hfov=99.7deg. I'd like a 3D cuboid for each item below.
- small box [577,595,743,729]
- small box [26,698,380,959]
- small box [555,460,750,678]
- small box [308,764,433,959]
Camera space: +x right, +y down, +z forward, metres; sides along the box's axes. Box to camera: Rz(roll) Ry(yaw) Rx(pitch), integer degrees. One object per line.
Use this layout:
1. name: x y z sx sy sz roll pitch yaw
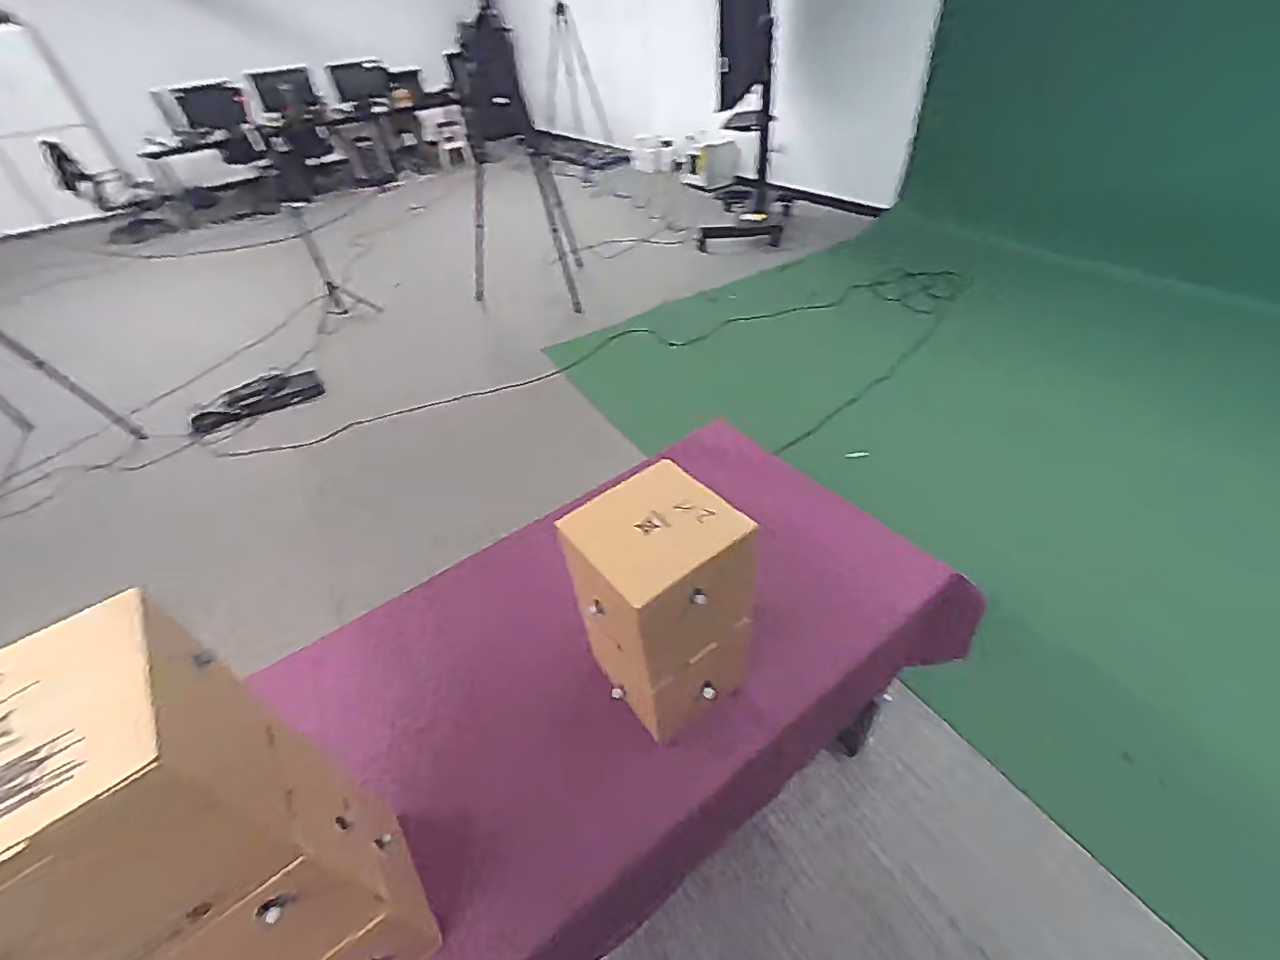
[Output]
1. small box: 0.031 0.233 0.792 0.168 0.176 0.179 -29 47 -23
2. small box: -0.368 0.344 0.479 0.179 0.176 0.168 -31 47 -27
3. small box: 0.020 0.111 0.681 0.179 0.176 0.168 -29 47 -23
4. small box: -0.352 0.462 0.589 0.168 0.176 0.179 -29 46 -25
